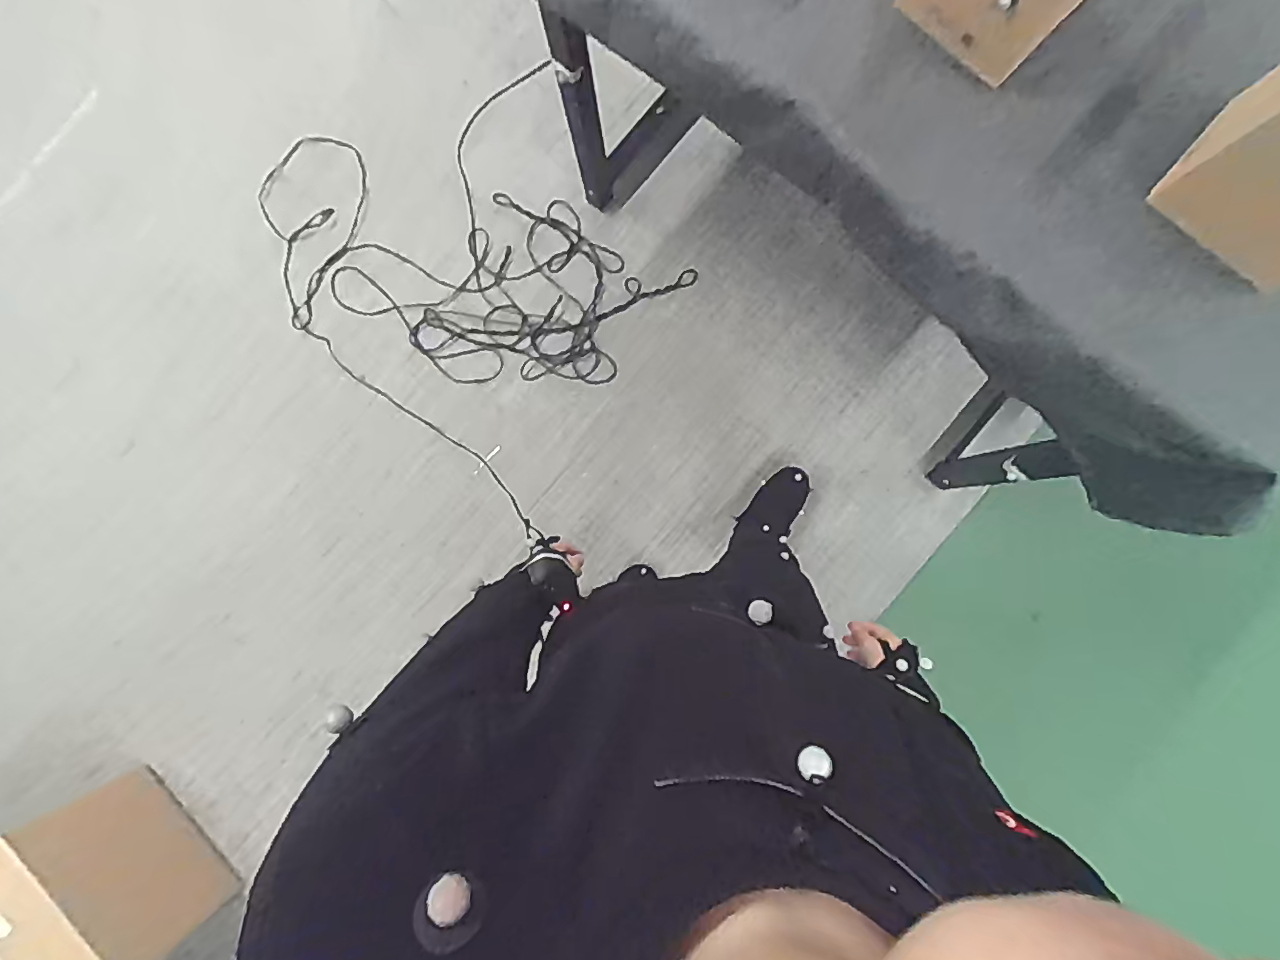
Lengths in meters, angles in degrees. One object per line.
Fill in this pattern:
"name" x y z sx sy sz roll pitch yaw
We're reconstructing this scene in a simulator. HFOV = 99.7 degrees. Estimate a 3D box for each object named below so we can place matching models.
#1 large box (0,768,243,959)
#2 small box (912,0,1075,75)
"large box" -1.228 0.959 1.207 0.320 0.320 0.408 -45 84 -1
"small box" 0.422 -0.595 0.574 0.168 0.176 0.179 44 88 3
